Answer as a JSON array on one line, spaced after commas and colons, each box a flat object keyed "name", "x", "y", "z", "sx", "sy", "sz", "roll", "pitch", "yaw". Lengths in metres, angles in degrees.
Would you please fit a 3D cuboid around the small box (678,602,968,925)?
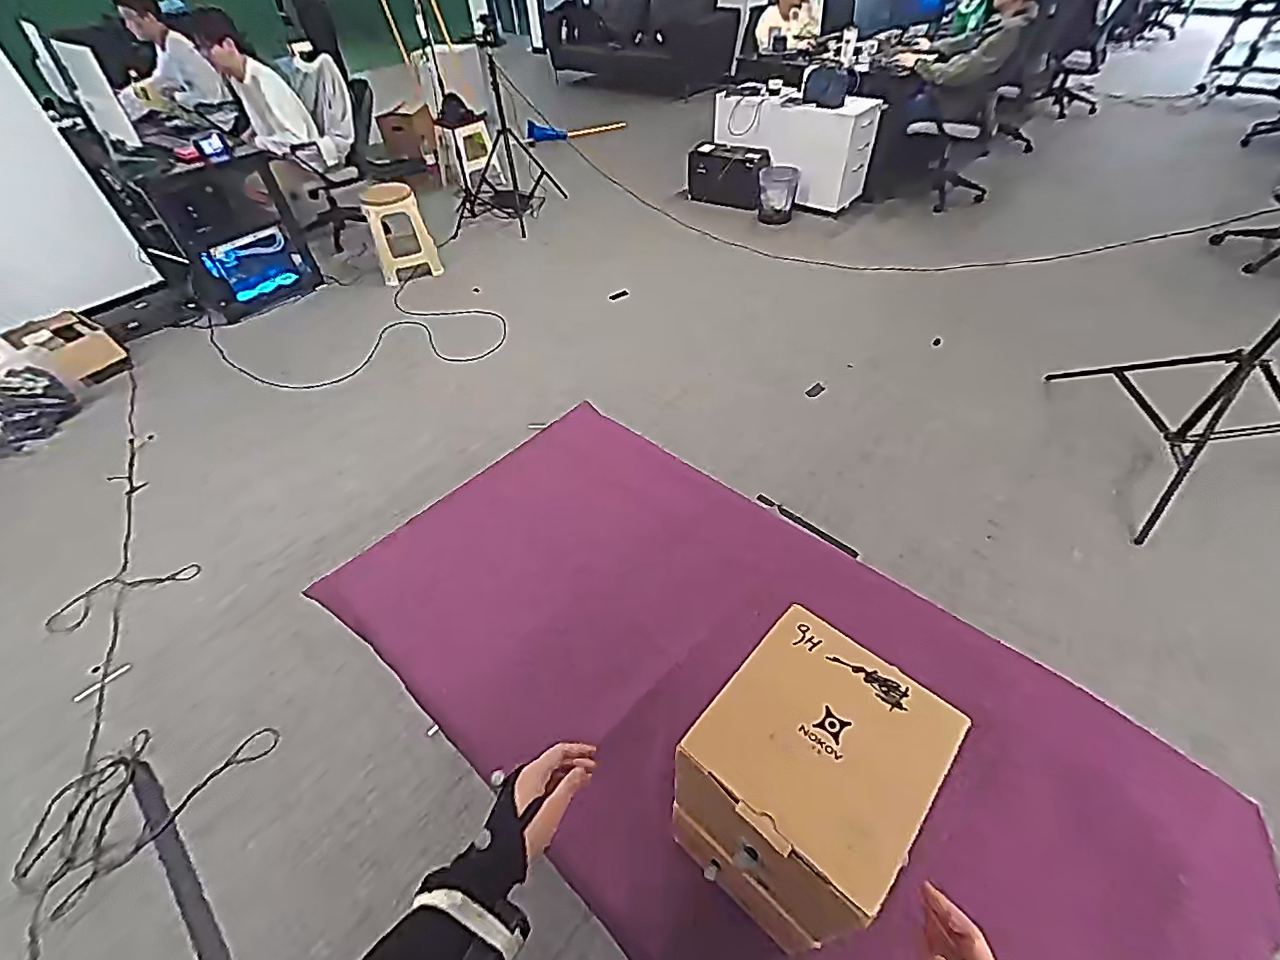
[{"name": "small box", "x": 0.152, "y": 0.255, "z": 0.490, "sx": 0.168, "sy": 0.176, "sz": 0.179, "roll": 33, "pitch": 56, "yaw": 29}]

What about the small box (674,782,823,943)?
[{"name": "small box", "x": 0.155, "y": 0.370, "z": 0.607, "sx": 0.168, "sy": 0.176, "sz": 0.179, "roll": 32, "pitch": 55, "yaw": 29}]
